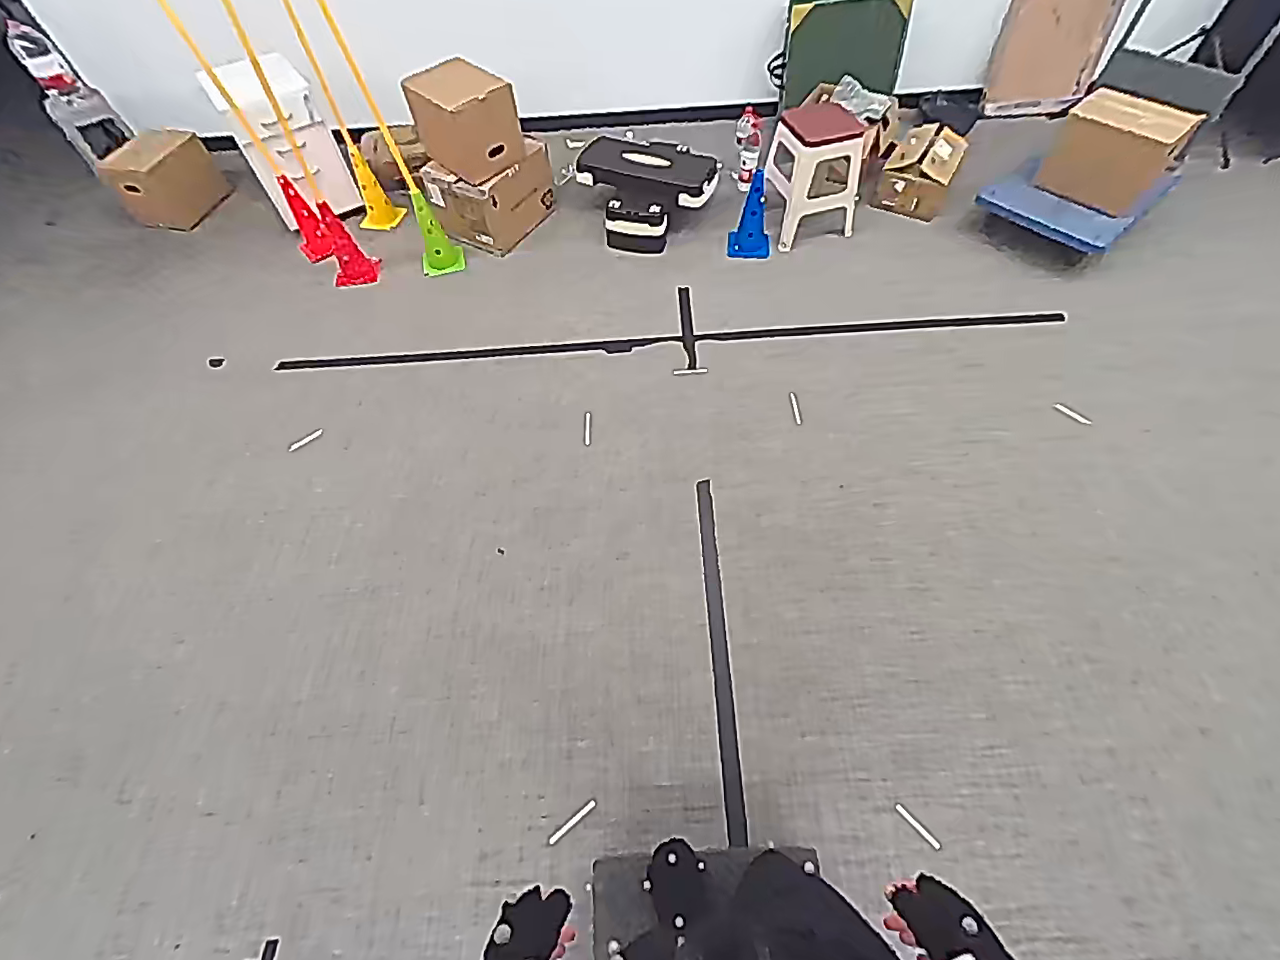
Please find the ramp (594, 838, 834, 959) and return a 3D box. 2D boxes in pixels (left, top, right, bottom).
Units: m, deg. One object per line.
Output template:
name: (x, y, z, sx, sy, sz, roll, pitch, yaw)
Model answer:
ramp: (0.170, 1.258, 0.997, 0.509, 0.206, 0.991, -4, 57, -1)
